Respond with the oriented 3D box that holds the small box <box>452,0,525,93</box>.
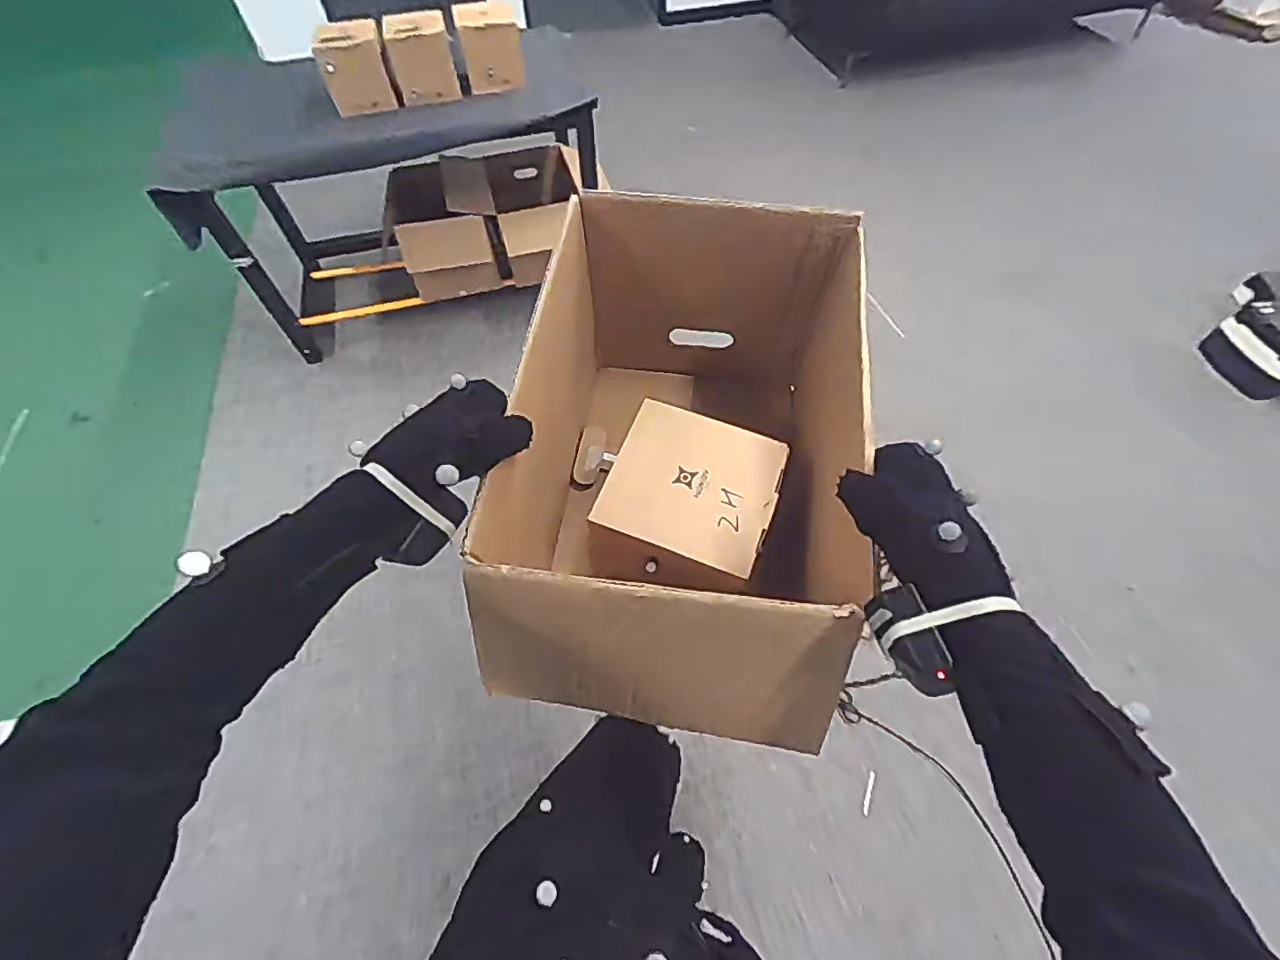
[{"bbox_3d":[-0.447,-1.284,1.605,0.168,0.176,0.179,-14,58,-7],"label":"small box"}]
